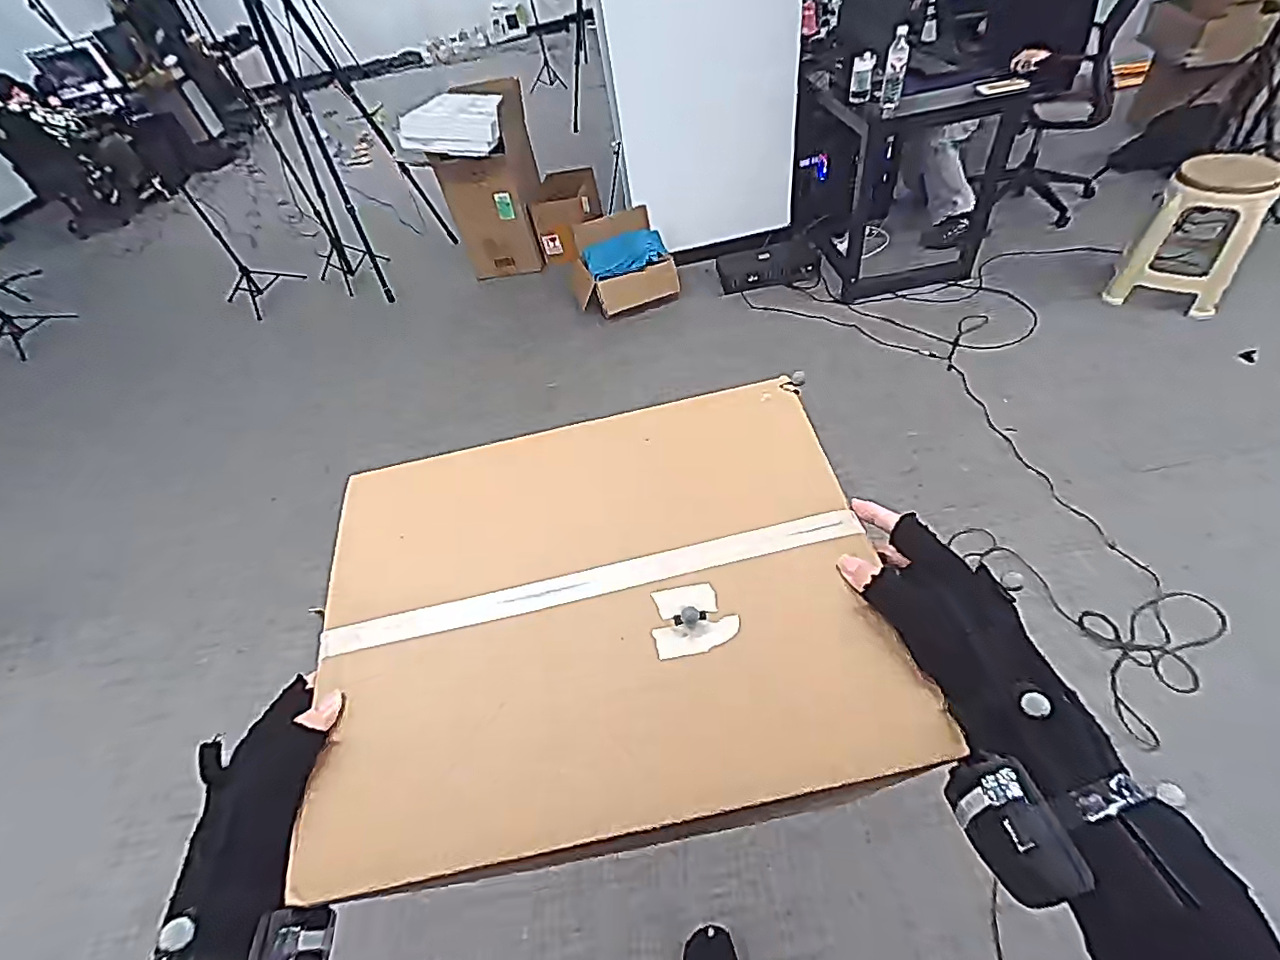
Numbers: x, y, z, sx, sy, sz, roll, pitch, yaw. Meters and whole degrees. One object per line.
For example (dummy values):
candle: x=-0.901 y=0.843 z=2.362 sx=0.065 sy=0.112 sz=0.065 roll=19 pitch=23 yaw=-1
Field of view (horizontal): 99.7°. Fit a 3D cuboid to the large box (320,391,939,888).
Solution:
large box: x=-0.016 y=0.166 z=0.538 sx=0.408 sy=0.320 sz=0.320 roll=-13 pitch=56 yaw=0
